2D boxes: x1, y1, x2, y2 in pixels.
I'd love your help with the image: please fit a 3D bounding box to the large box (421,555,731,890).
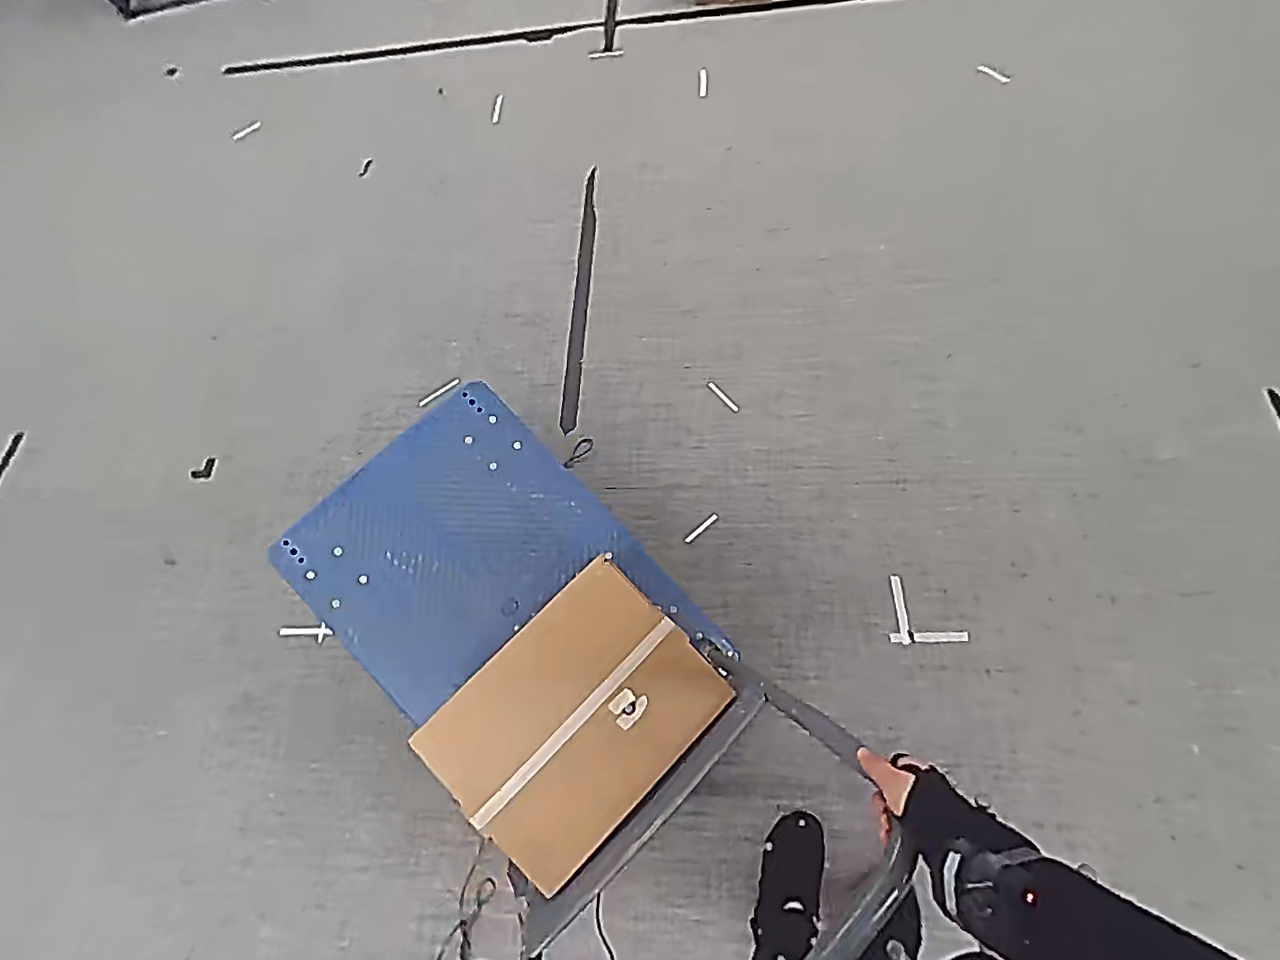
[{"bbox_3d":[-0.106,0.394,0.989,0.320,0.320,0.408,45,78,3],"label":"large box"}]
